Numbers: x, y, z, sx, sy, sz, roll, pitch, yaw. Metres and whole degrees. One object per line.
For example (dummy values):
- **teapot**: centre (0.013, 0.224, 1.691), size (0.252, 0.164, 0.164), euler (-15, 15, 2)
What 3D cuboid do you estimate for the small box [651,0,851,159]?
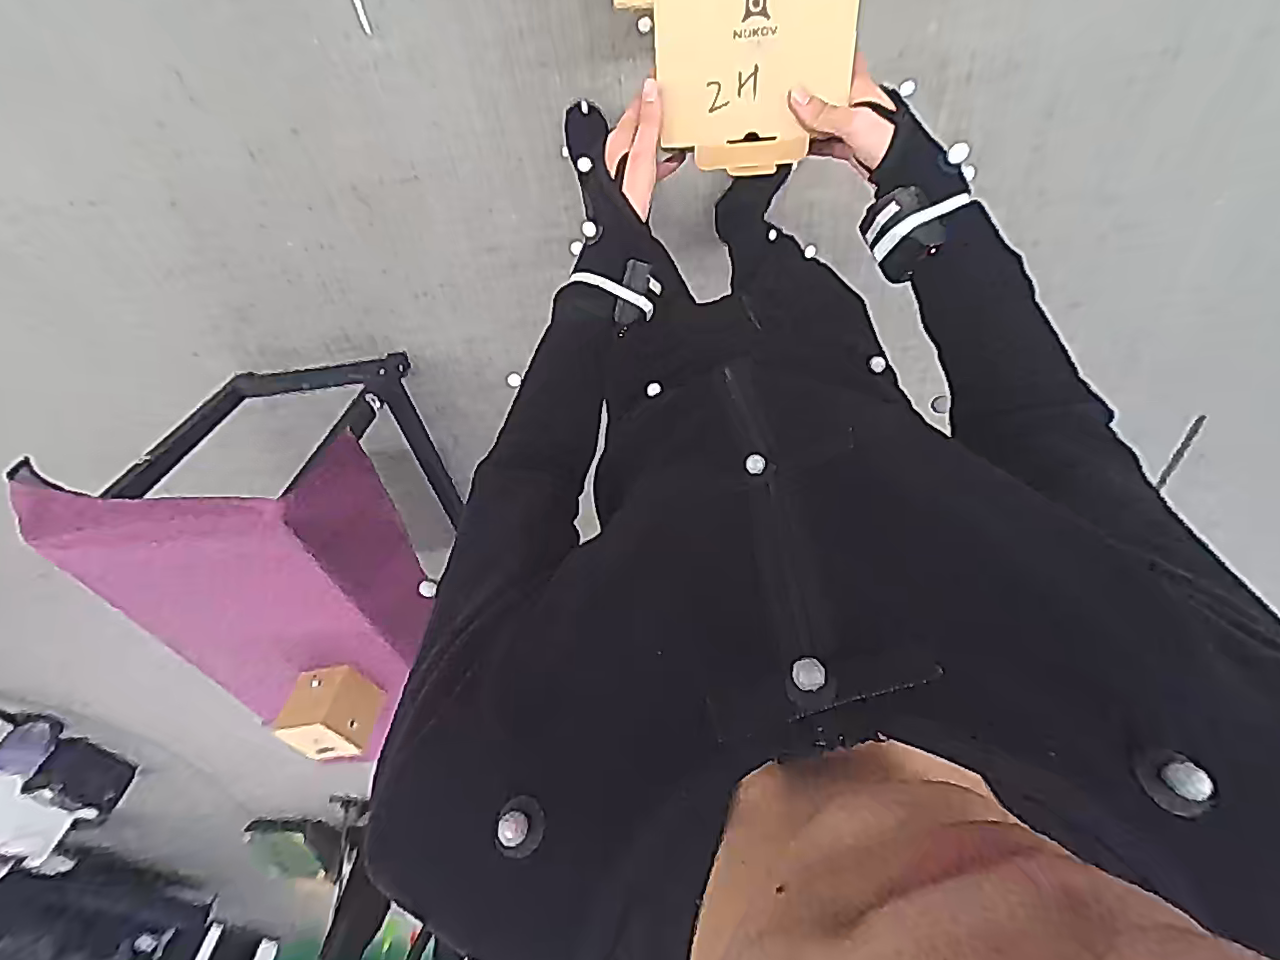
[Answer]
- **small box**: centre (0.095, -0.415, 0.515), size (0.168, 0.176, 0.179), euler (-1, 120, 6)

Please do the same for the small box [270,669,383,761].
- **small box**: centre (-0.843, 0.642, 1.476), size (0.168, 0.176, 0.179), euler (-14, 129, 13)
